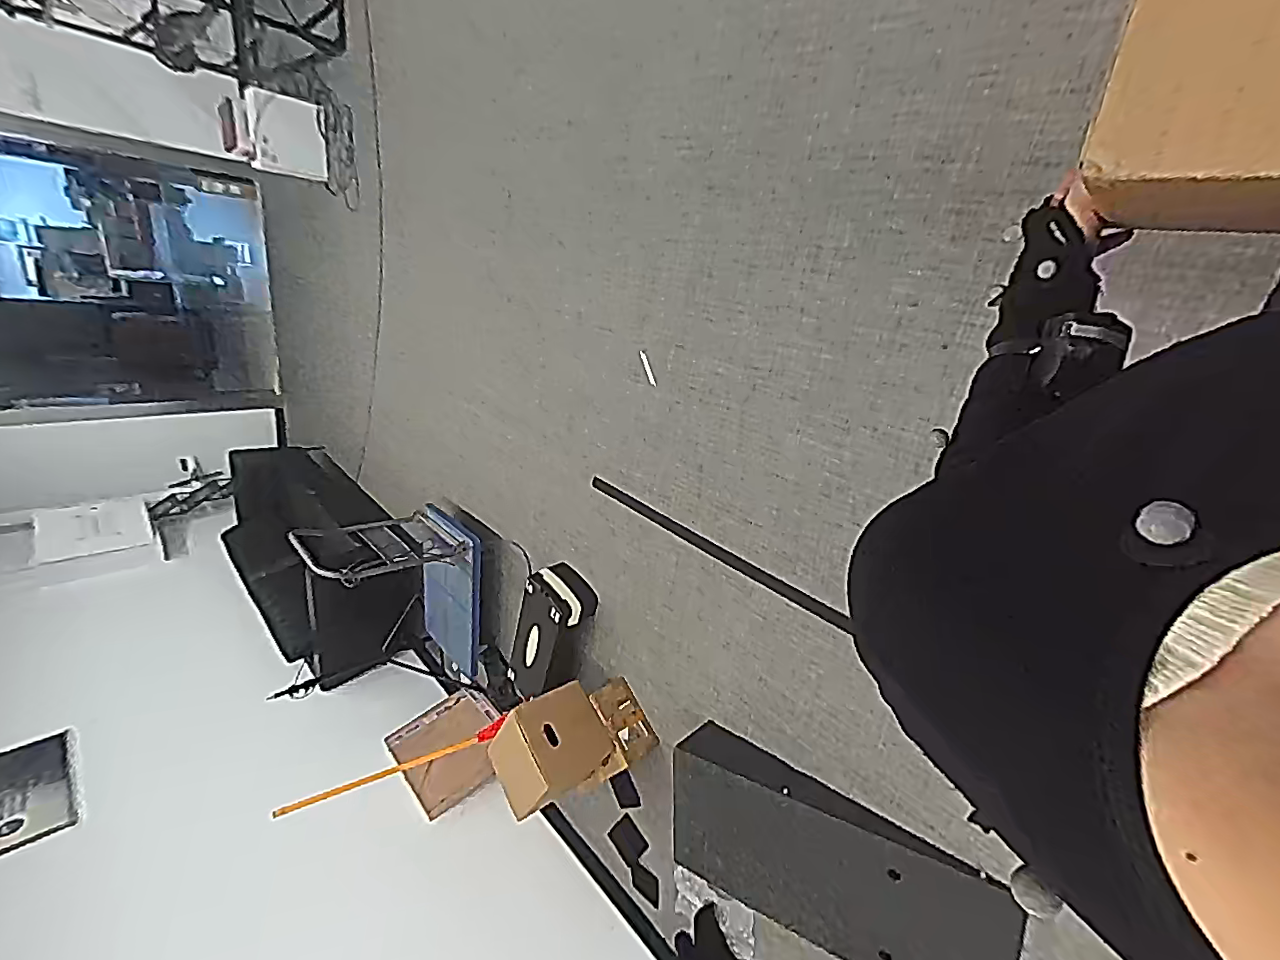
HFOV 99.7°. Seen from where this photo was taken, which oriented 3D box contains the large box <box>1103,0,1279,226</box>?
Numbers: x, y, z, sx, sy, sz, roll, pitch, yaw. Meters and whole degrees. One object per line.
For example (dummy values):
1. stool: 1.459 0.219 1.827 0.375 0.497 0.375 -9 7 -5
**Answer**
1. large box: 0.470 -0.275 0.196 0.408 0.320 0.320 21 119 35
